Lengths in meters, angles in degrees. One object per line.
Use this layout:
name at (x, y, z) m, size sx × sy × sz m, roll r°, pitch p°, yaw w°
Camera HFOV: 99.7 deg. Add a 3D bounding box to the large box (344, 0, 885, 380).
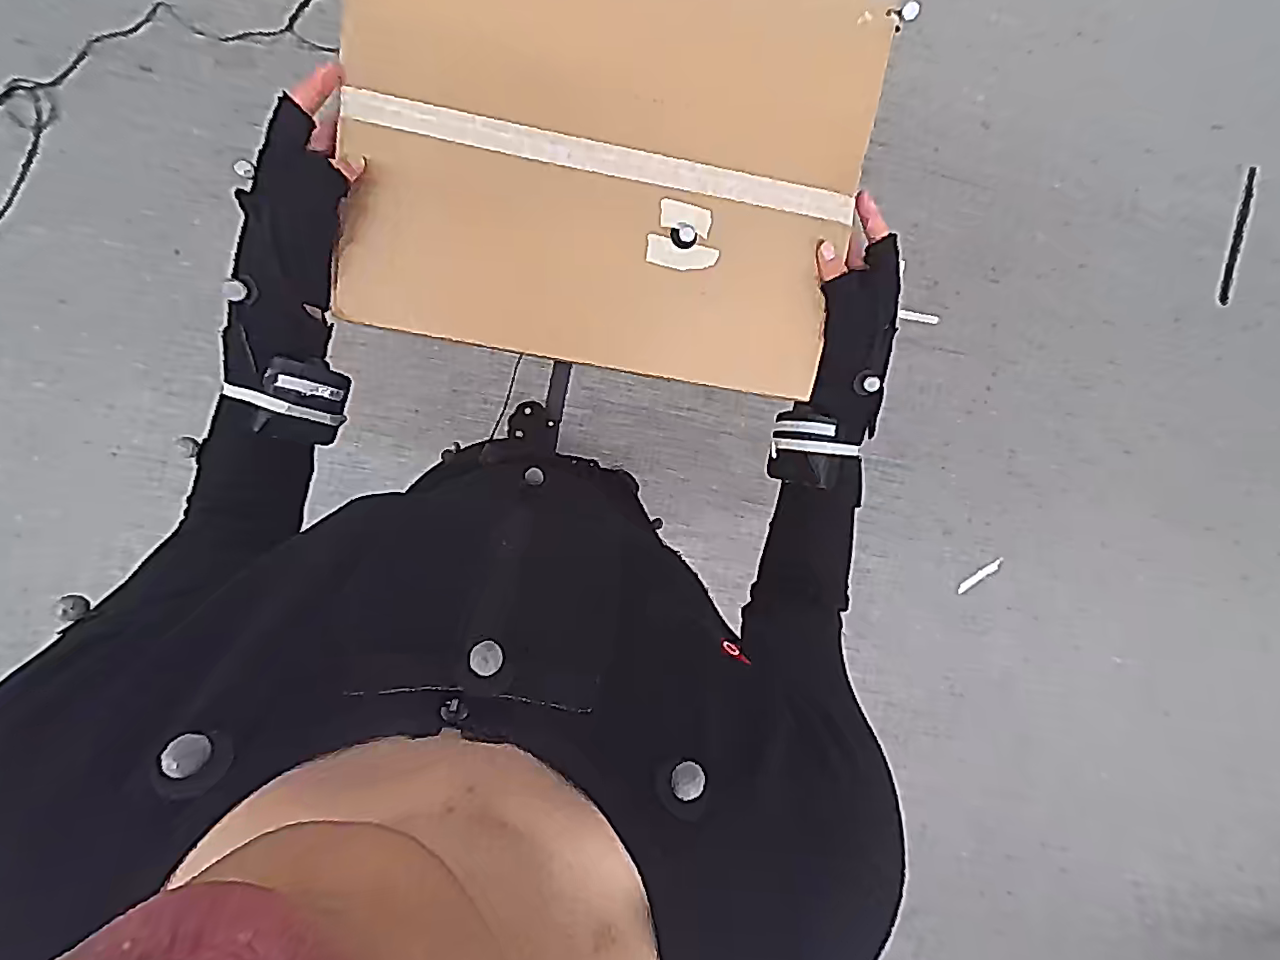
large box at (-0.038, -0.292, 0.573) m, size 0.408 × 0.320 × 0.320 m, roll 8°, pitch 103°, yaw -7°
